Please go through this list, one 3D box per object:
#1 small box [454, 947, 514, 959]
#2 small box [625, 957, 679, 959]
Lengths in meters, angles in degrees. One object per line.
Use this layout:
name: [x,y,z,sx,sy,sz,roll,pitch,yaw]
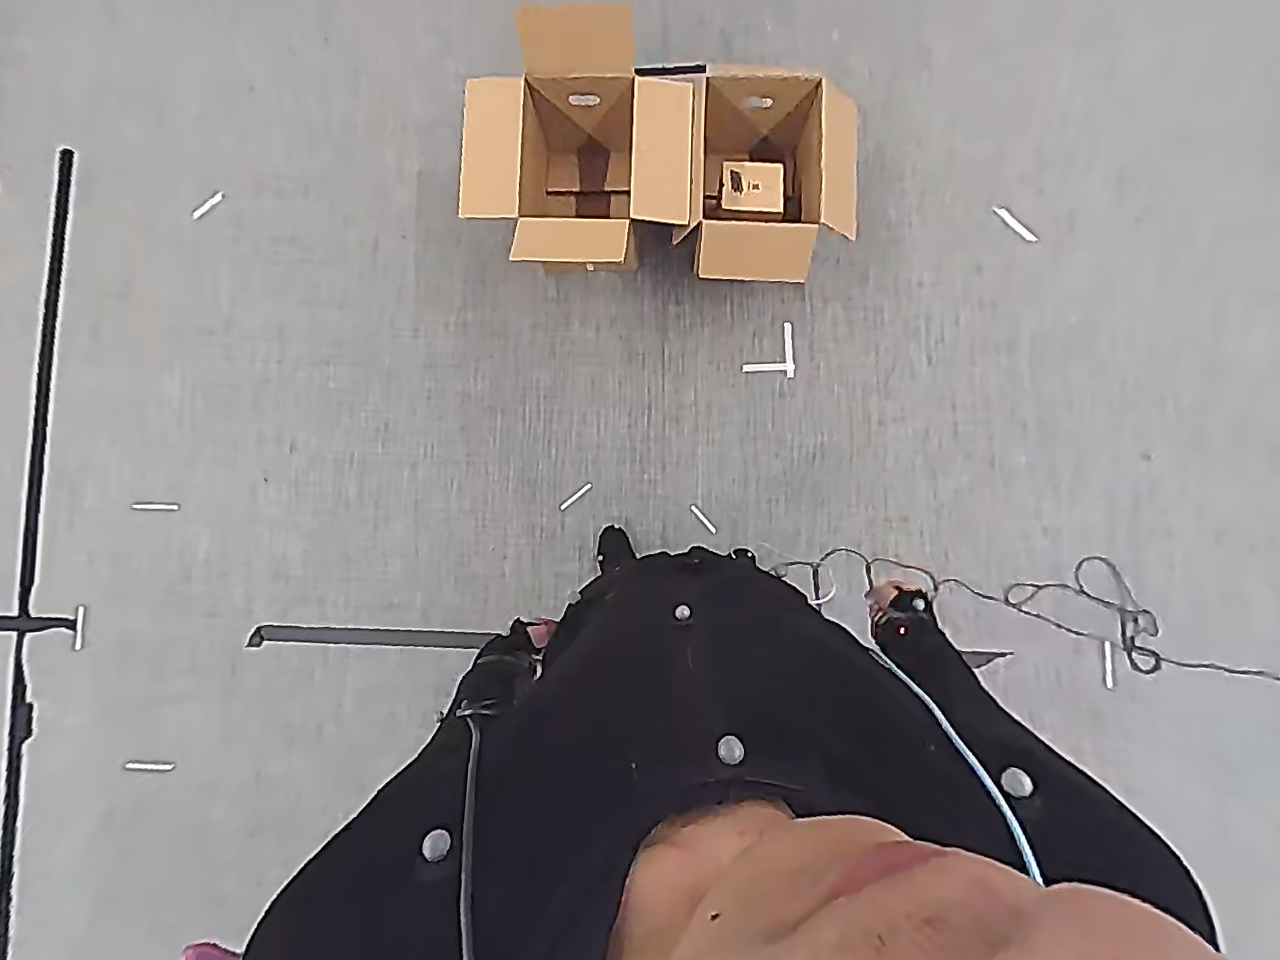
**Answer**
small box: [-0.422,1.353,1.386,0.168,0.176,0.179,1,87,4]
small box: [0.022,1.352,1.361,0.179,0.176,0.168,-1,86,3]
